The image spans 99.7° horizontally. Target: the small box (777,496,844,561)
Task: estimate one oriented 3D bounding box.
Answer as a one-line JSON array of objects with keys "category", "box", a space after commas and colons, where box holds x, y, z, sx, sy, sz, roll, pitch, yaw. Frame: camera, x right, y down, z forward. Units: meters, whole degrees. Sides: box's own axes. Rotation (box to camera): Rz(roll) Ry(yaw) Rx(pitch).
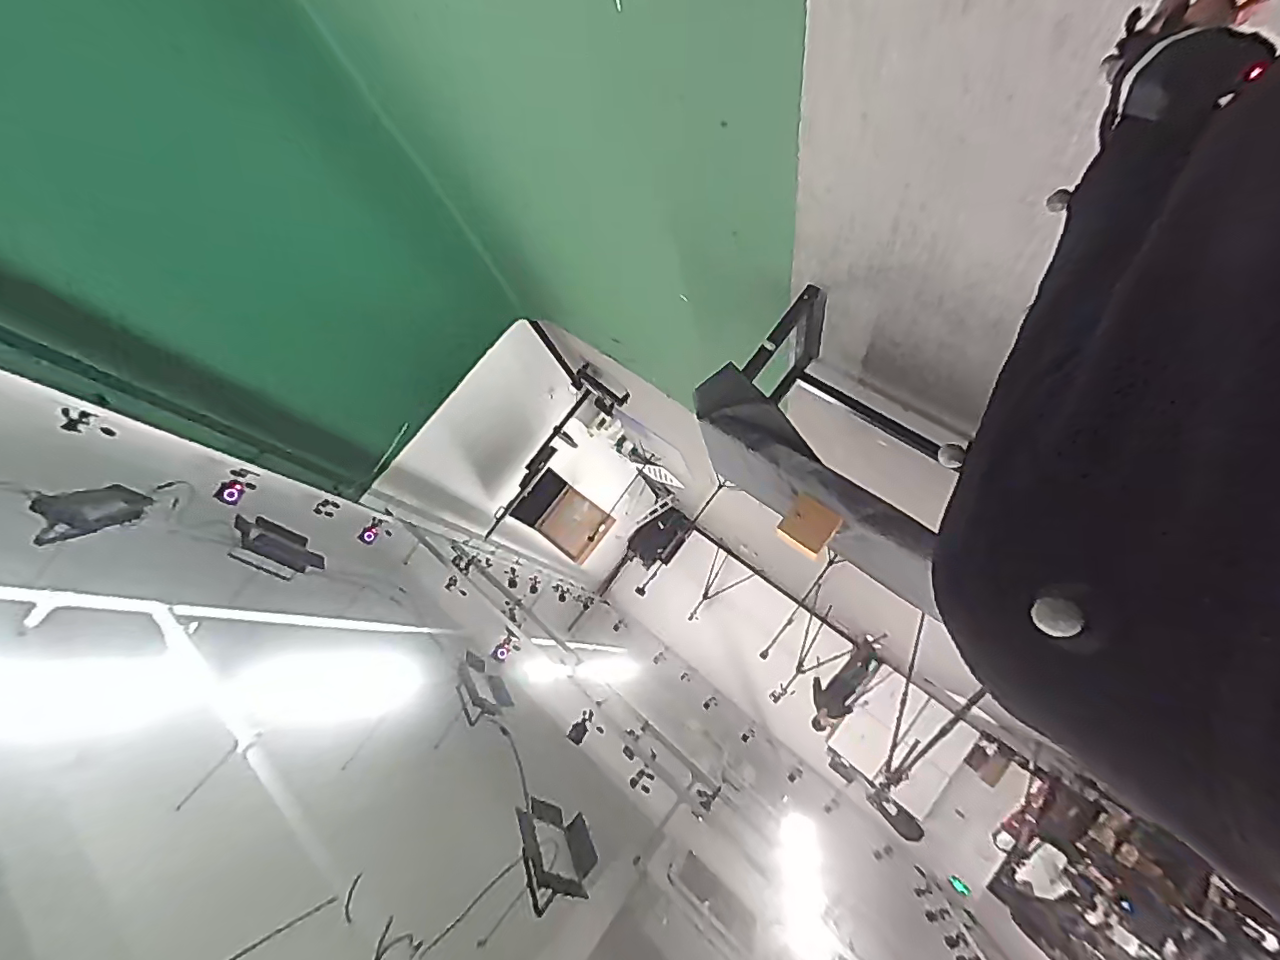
[{"category": "small box", "box": [0.636, 0.176, 2.034, 0.179, 0.176, 0.168, 35, 174, 22]}]
